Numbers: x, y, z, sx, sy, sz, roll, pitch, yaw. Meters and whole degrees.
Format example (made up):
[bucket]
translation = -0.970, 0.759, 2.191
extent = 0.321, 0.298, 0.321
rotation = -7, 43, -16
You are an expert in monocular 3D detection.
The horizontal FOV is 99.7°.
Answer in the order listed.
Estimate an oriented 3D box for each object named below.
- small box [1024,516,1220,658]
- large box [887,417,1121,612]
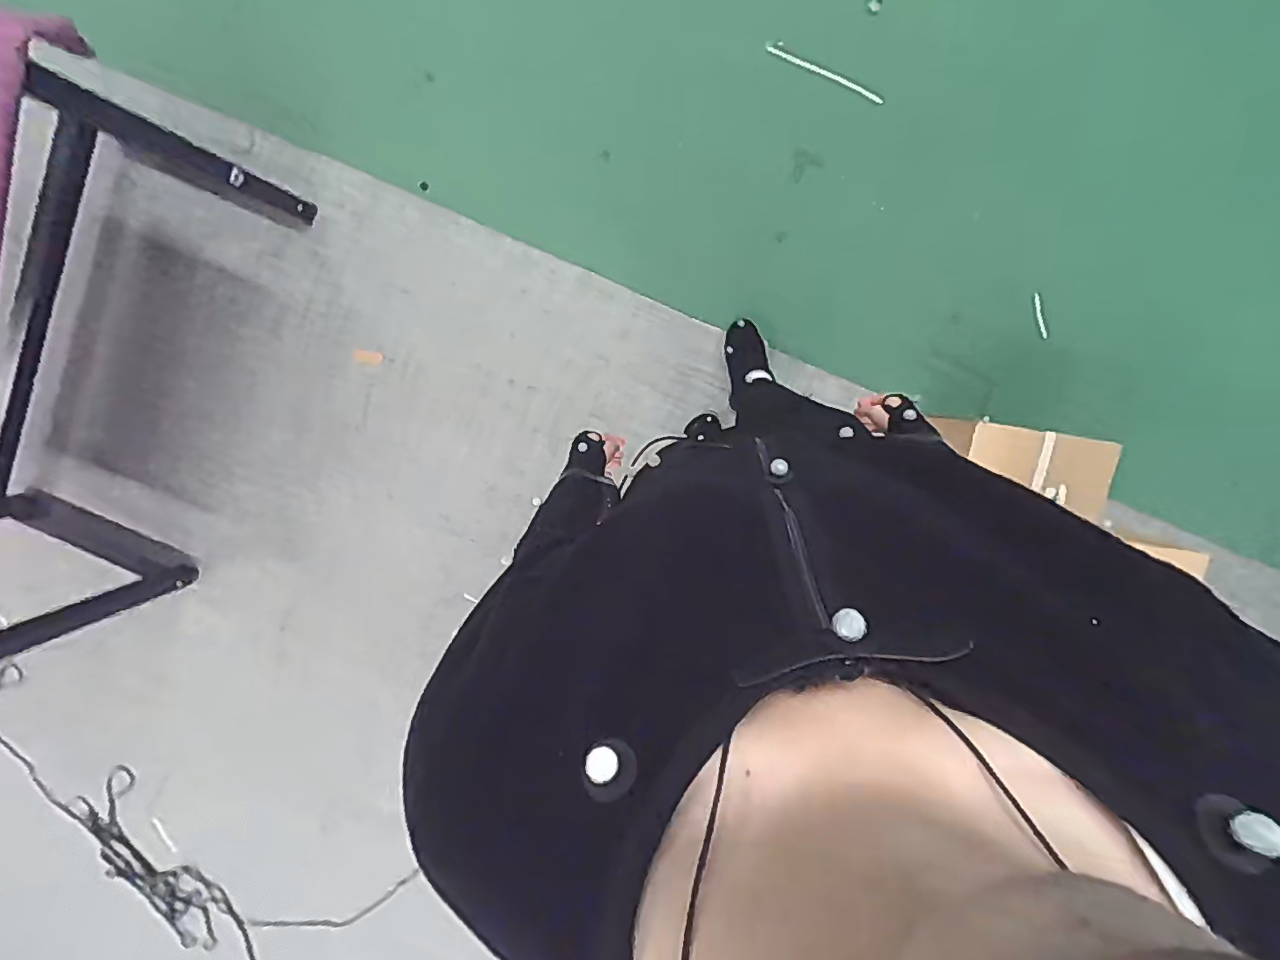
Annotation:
[small box]
translation = 0.805, 0.174, 0.926
extent = 0.168, 0.176, 0.179
rotation = 9, 99, 2
[large box]
translation = 0.849, 0.069, 1.322
extent = 0.320, 0.320, 0.408
rotation = 9, 98, 1
